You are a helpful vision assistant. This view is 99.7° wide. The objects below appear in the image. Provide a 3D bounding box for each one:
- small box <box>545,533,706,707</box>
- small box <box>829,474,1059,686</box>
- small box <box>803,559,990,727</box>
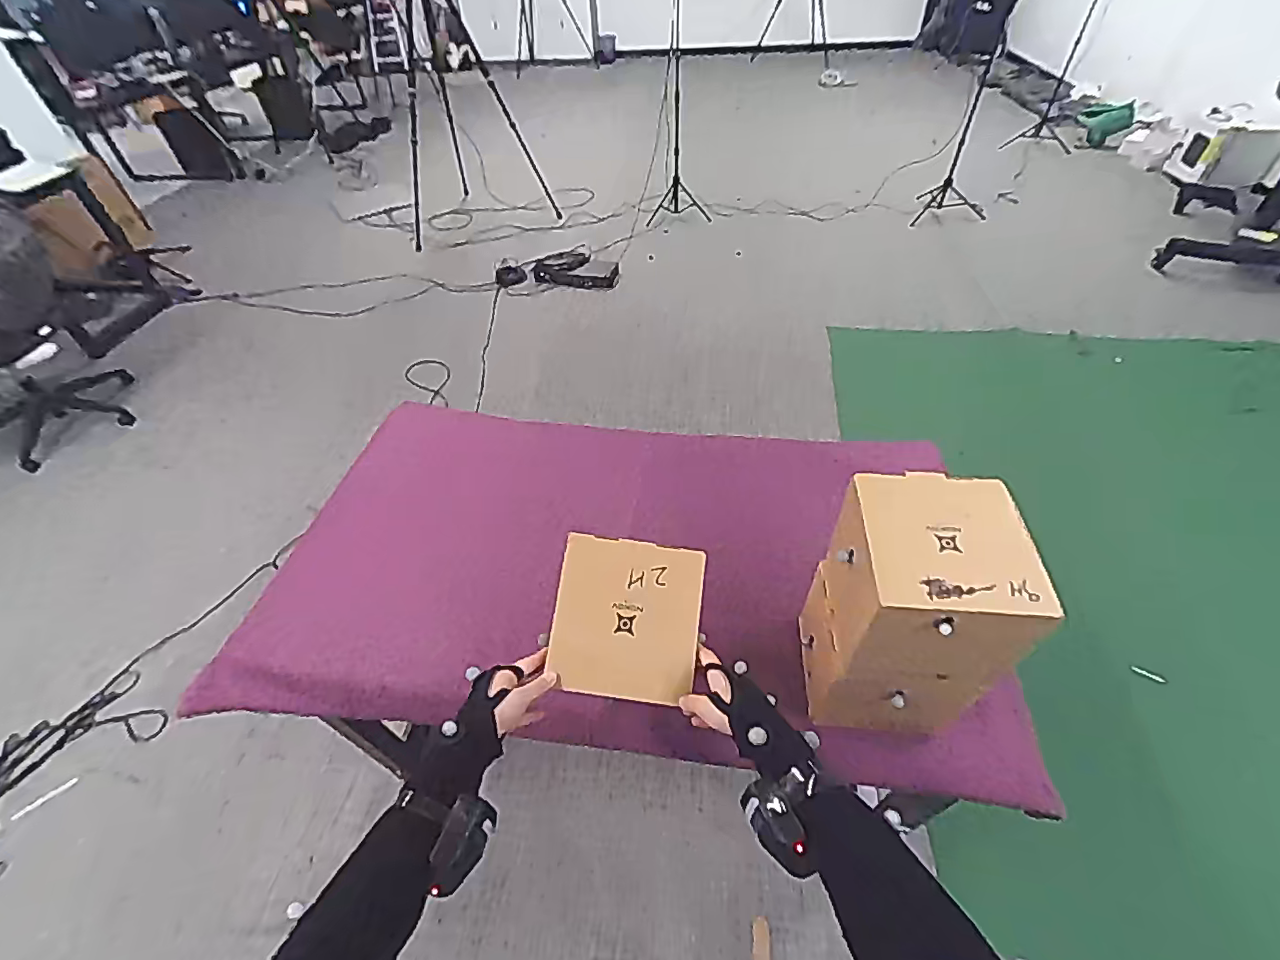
[{"bbox_3d":[-0.018,0.181,0.698,0.168,0.176,0.179,9,71,-1],"label":"small box"},{"bbox_3d":[0.323,0.113,0.623,0.168,0.176,0.179,1,47,8],"label":"small box"},{"bbox_3d":[0.331,0.226,0.741,0.179,0.176,0.168,0,48,7],"label":"small box"}]
